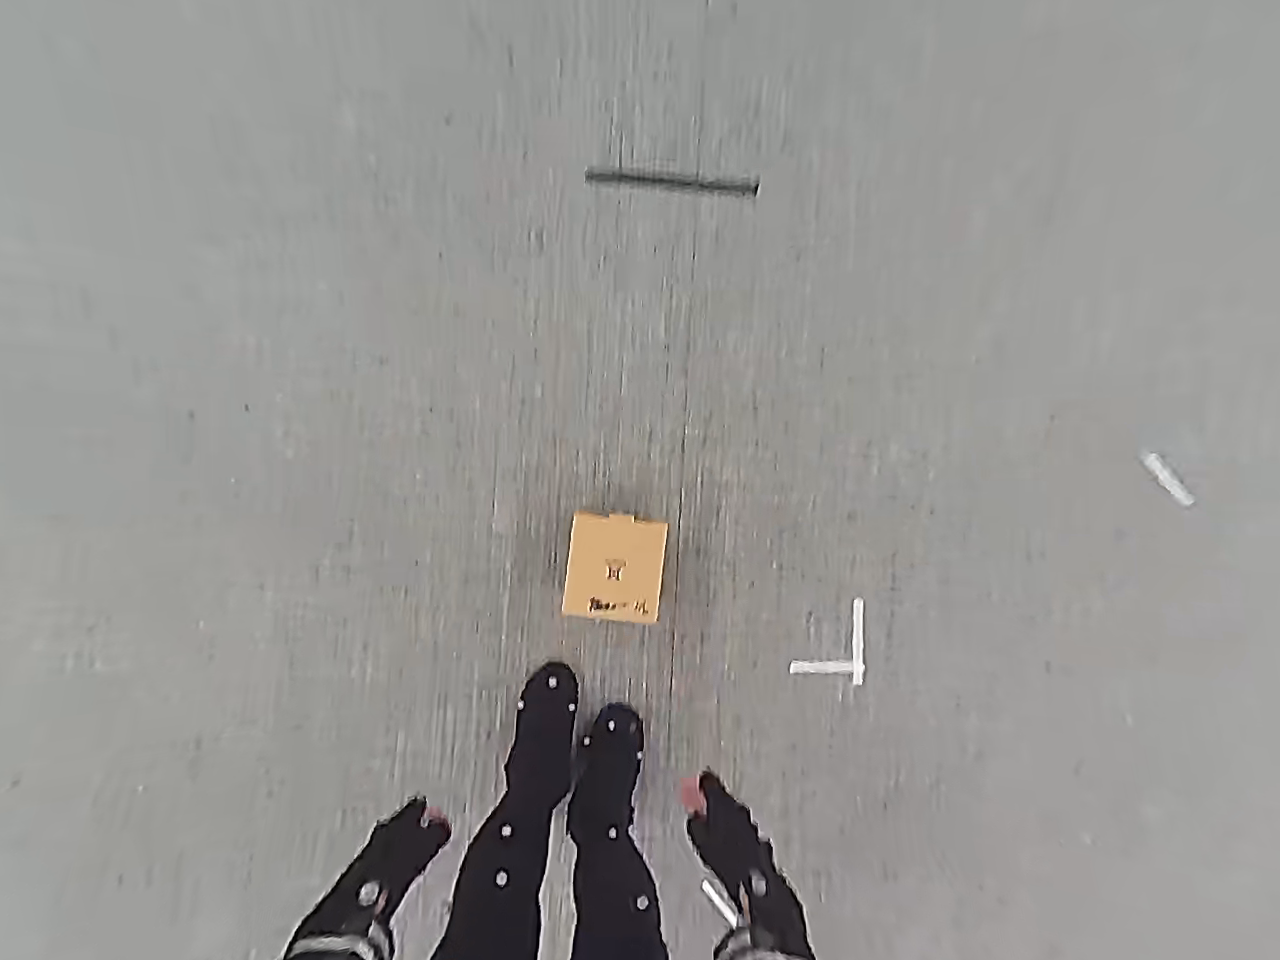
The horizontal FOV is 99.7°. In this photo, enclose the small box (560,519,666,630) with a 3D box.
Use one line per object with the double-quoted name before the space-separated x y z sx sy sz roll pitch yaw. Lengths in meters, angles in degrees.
"small box" -0.054 0.169 1.014 0.168 0.176 0.179 8 86 -5
